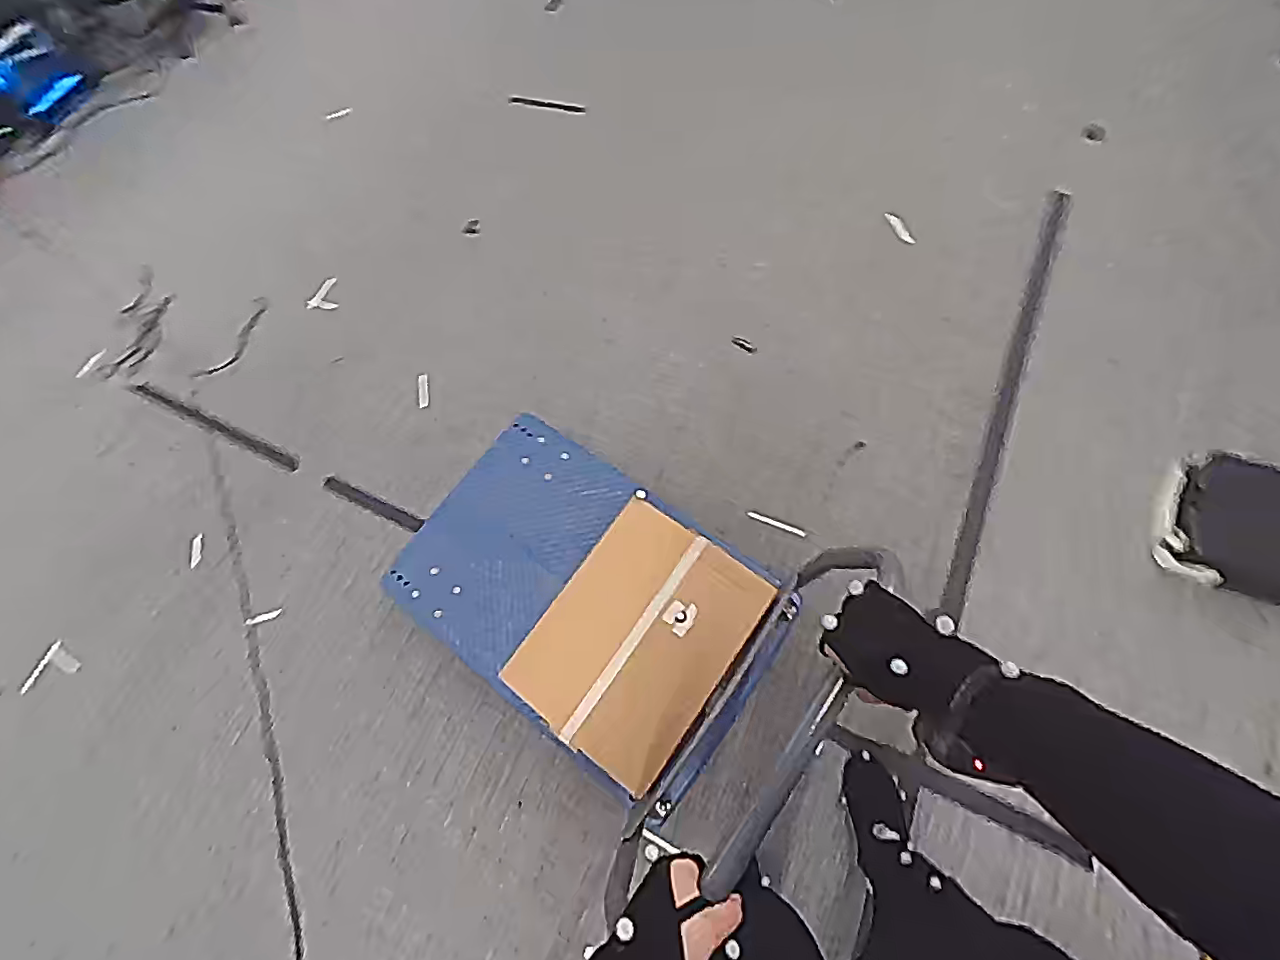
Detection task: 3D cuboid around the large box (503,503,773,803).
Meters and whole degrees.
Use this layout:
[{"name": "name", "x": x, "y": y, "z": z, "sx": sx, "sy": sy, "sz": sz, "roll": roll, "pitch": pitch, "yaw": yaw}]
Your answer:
[{"name": "large box", "x": 0.014, "y": 0.327, "z": 1.063, "sx": 0.320, "sy": 0.320, "sz": 0.408, "roll": 33, "pitch": 76, "yaw": 18}]
